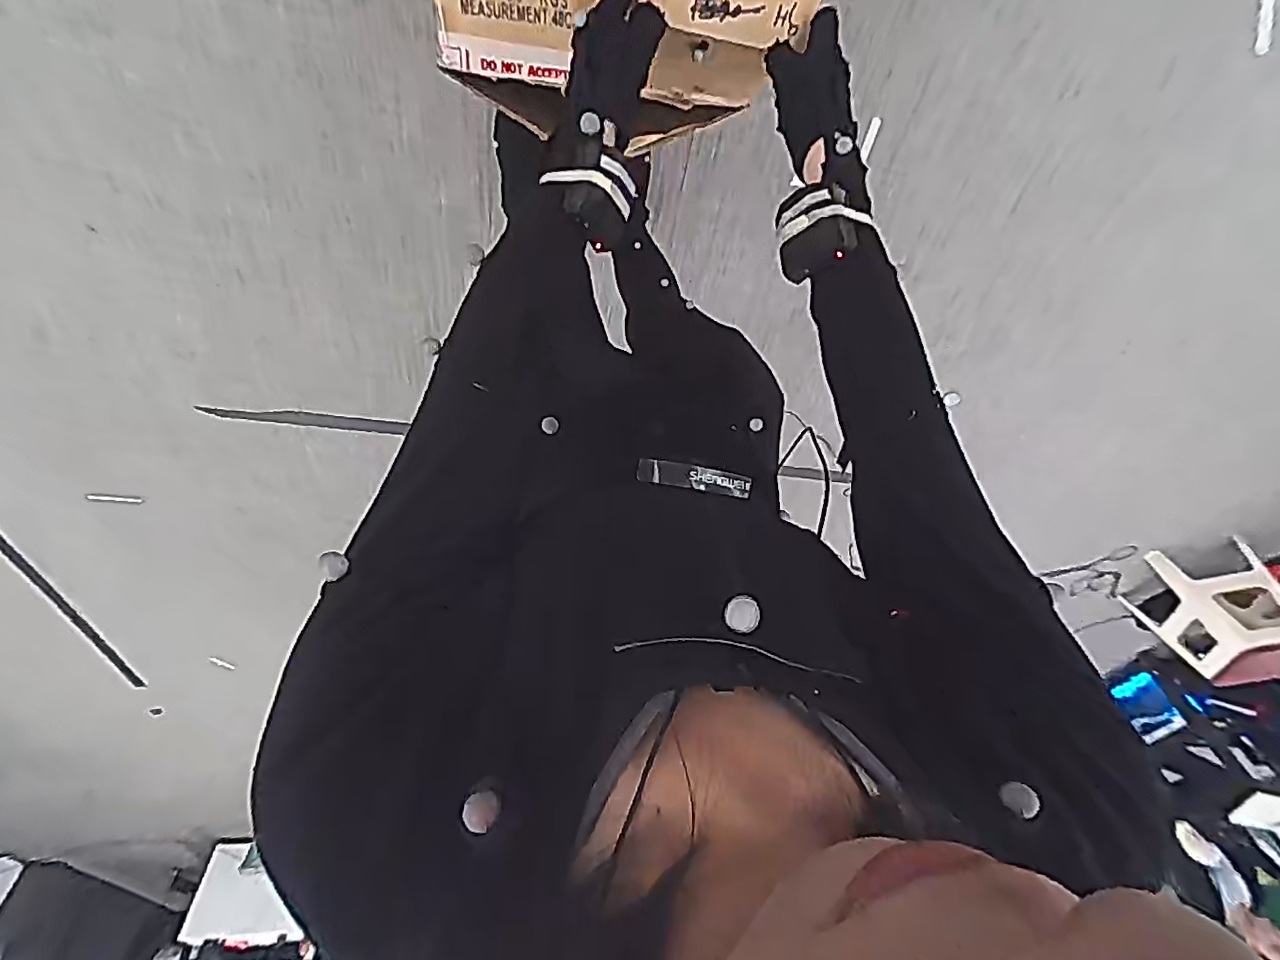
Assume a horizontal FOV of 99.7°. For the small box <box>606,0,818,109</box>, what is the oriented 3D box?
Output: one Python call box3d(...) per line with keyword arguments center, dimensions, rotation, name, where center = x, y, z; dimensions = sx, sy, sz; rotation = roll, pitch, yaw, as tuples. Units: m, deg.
box3d(center=(0.065, -0.493, 0.518), dimensions=(0.168, 0.176, 0.179), rotation=(2, 110, -14), name="small box")
